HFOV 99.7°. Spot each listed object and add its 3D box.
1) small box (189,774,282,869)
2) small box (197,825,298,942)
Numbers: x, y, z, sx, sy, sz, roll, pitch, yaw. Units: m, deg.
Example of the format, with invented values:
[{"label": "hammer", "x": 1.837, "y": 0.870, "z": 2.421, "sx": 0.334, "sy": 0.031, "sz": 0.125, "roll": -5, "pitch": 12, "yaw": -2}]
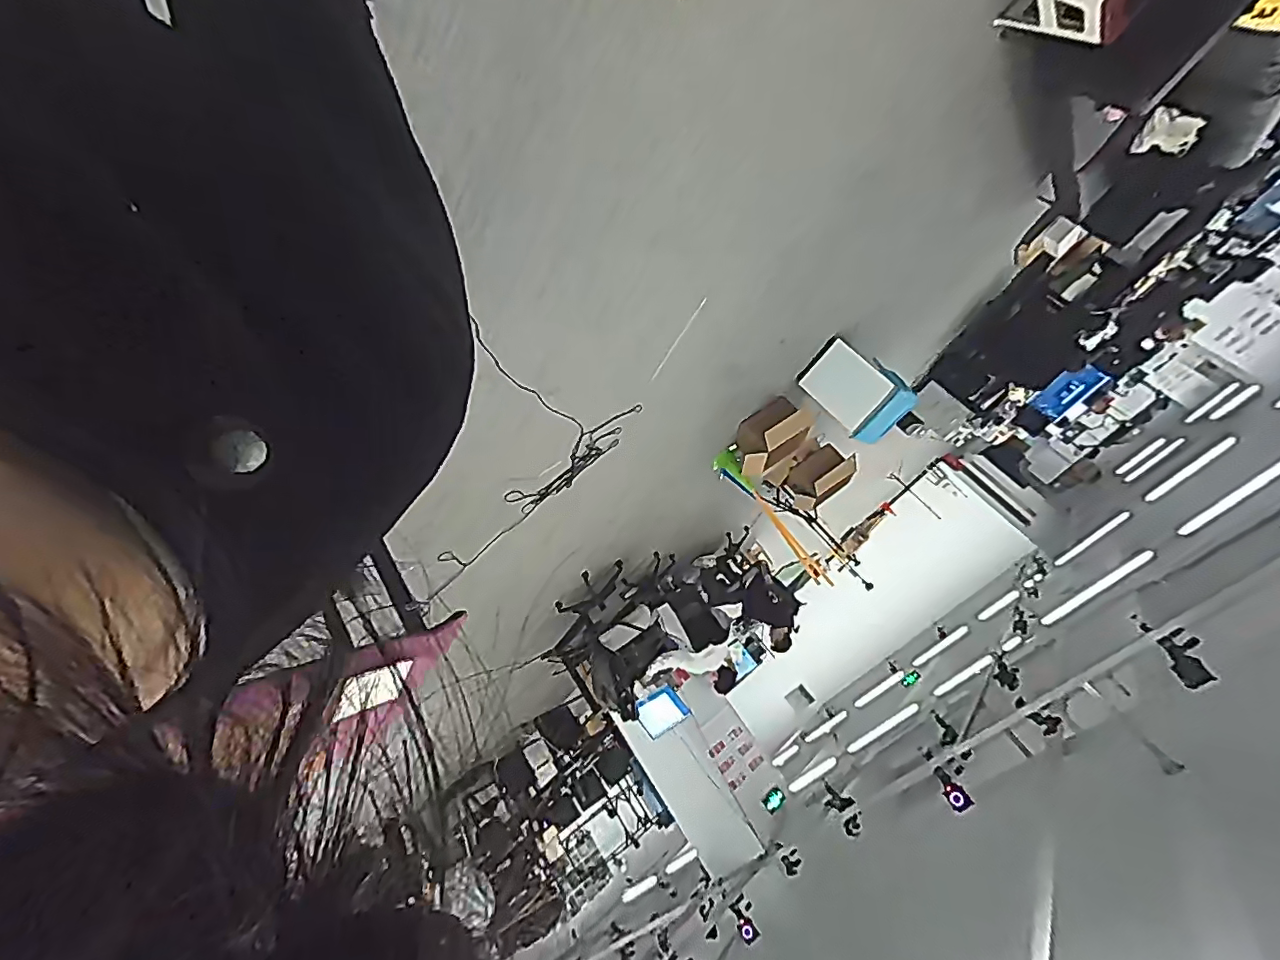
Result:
[{"label": "small box", "x": -1.161, "y": 0.977, "z": 1.545, "sx": 0.168, "sy": 0.176, "sz": 0.179, "roll": -2, "pitch": 135, "yaw": -52}, {"label": "small box", "x": -1.069, "y": 1.087, "z": 1.470, "sx": 0.179, "sy": 0.176, "sz": 0.168, "roll": -5, "pitch": 137, "yaw": -50}]
